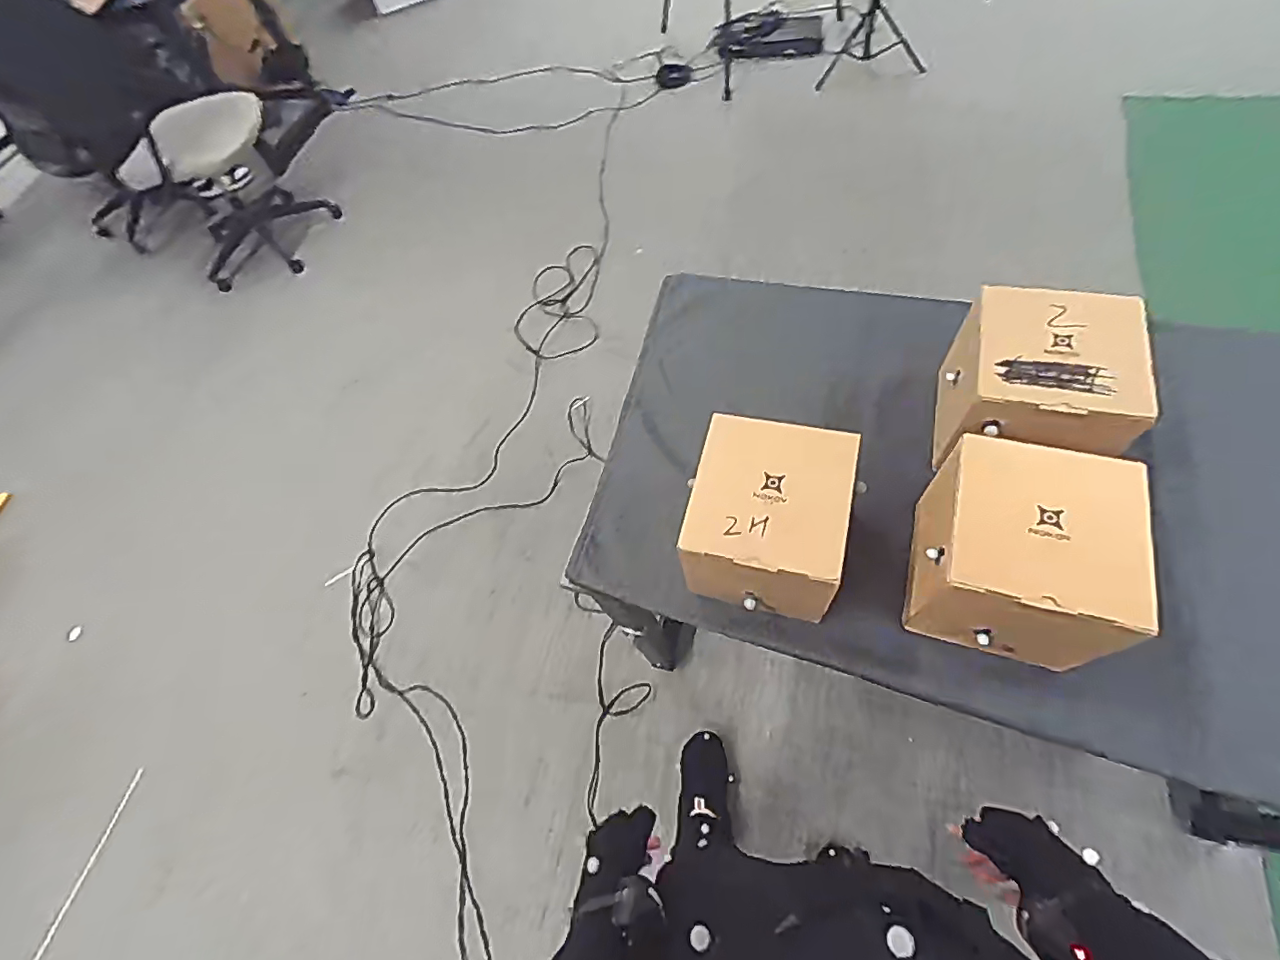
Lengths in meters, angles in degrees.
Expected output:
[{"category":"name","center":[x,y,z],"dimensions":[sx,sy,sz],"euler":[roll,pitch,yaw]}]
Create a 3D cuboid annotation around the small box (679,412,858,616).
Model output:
[{"category":"small box","center":[0.153,0.045,0.654],"dimensions":[0.168,0.176,0.179],"euler":[10,65,16]}]
